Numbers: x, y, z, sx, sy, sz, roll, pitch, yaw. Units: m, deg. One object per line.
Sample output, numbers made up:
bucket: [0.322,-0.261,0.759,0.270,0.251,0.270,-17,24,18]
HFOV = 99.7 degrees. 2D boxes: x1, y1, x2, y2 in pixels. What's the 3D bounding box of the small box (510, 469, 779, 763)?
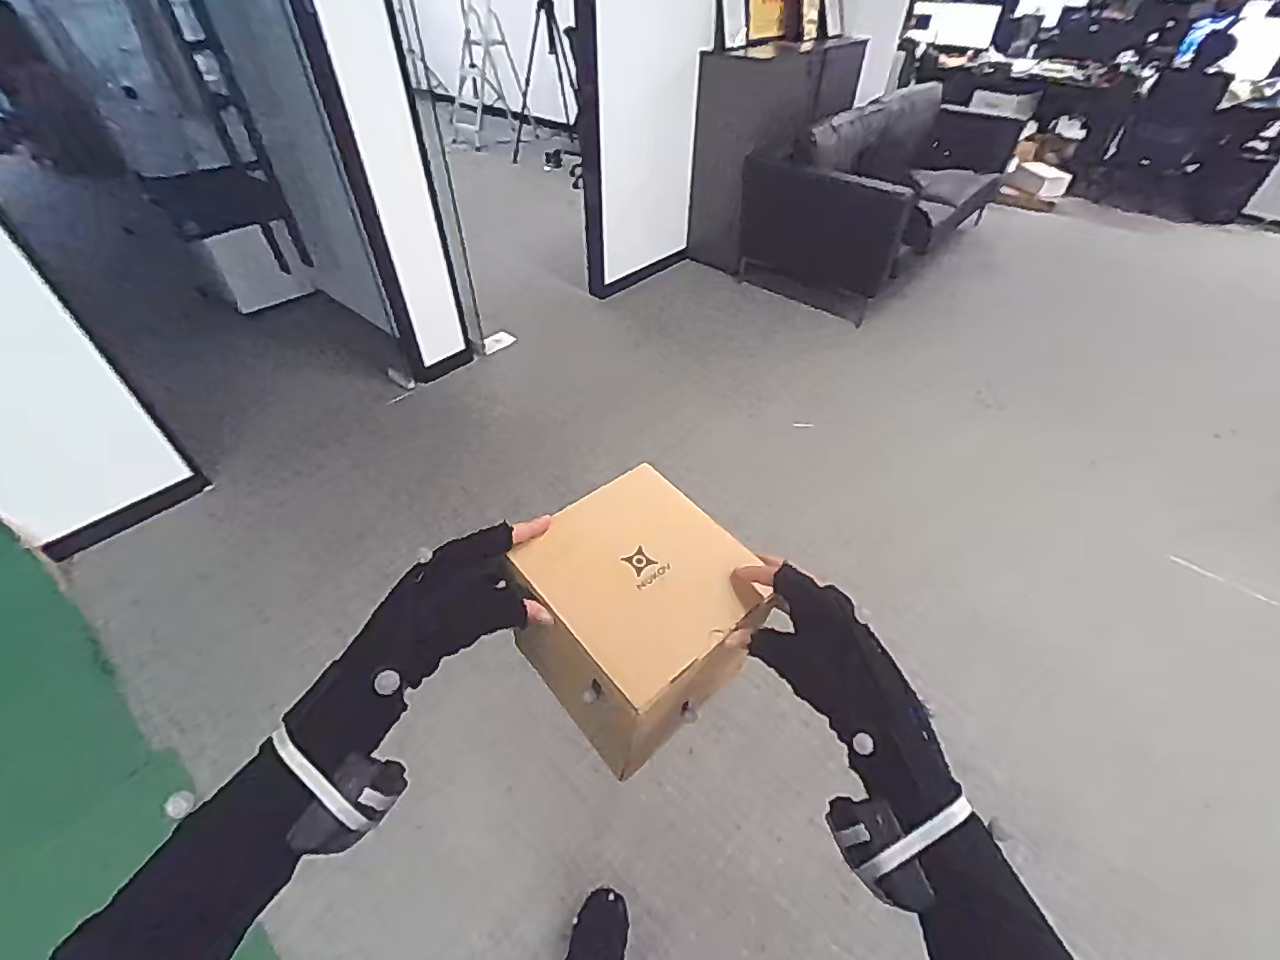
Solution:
small box: [-0.006,0.127,0.514,0.168,0.176,0.179,-30,58,-31]
